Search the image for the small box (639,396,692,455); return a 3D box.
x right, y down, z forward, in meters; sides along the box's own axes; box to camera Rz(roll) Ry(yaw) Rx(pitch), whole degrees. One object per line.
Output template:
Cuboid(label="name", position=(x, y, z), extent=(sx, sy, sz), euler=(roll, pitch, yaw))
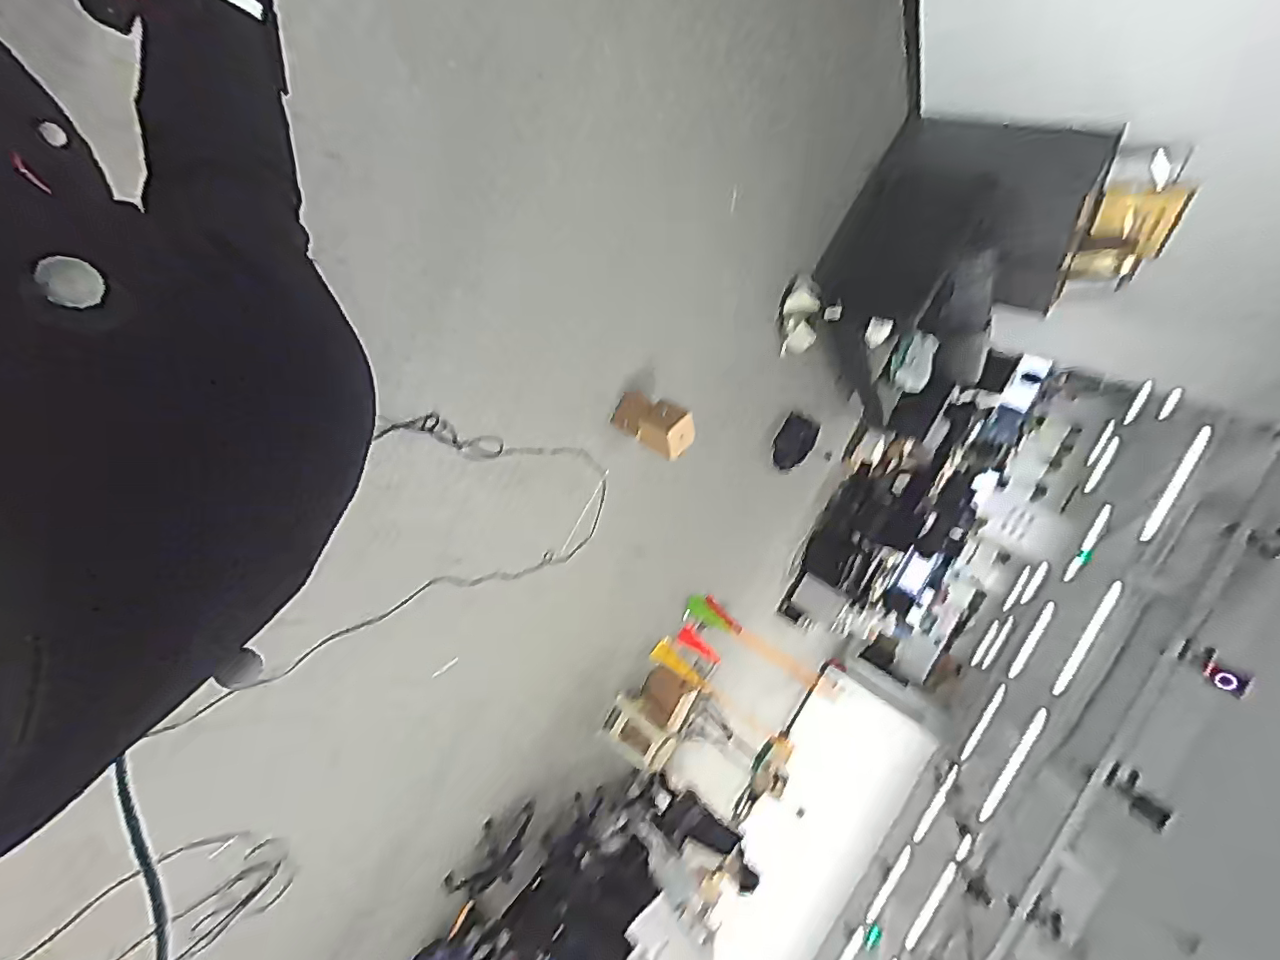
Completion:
Cuboid(label="small box", position=(0.110, -0.246, 2.366), extent=(0.168, 0.176, 0.179), euler=(-44, 146, -25))

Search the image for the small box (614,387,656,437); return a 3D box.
Cuboid(label="small box", position=(0.005, -0.299, 2.456), extent=(0.168, 0.176, 0.179), euler=(20, 98, -59))
